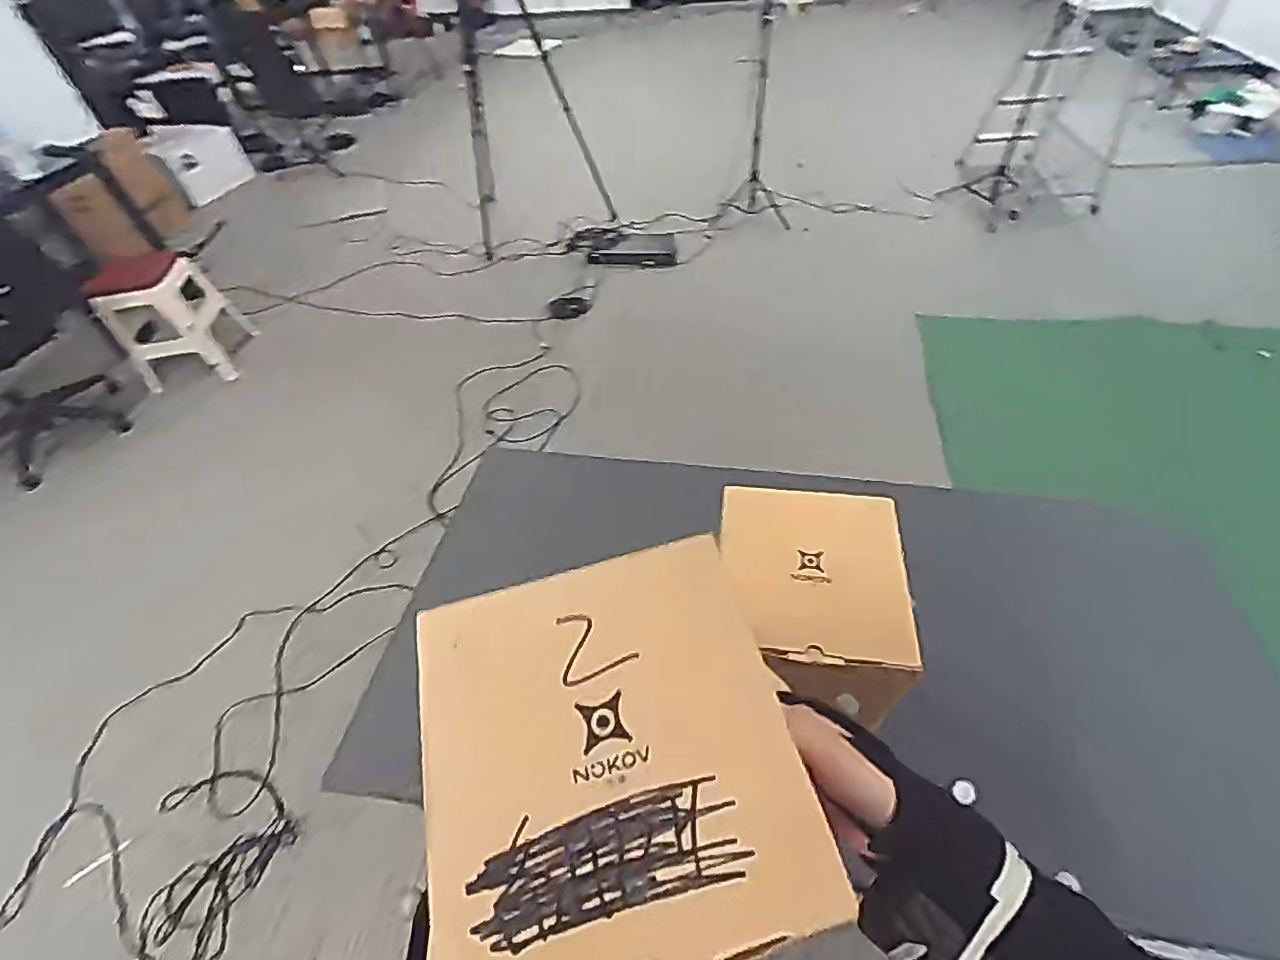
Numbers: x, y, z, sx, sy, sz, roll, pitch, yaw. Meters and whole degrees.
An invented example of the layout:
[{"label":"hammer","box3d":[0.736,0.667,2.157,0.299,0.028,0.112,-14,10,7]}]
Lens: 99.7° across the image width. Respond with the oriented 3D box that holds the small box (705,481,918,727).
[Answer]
[{"label":"small box","box3d":[0.155,0.125,0.547,0.168,0.176,0.179,4,50,8]}]
